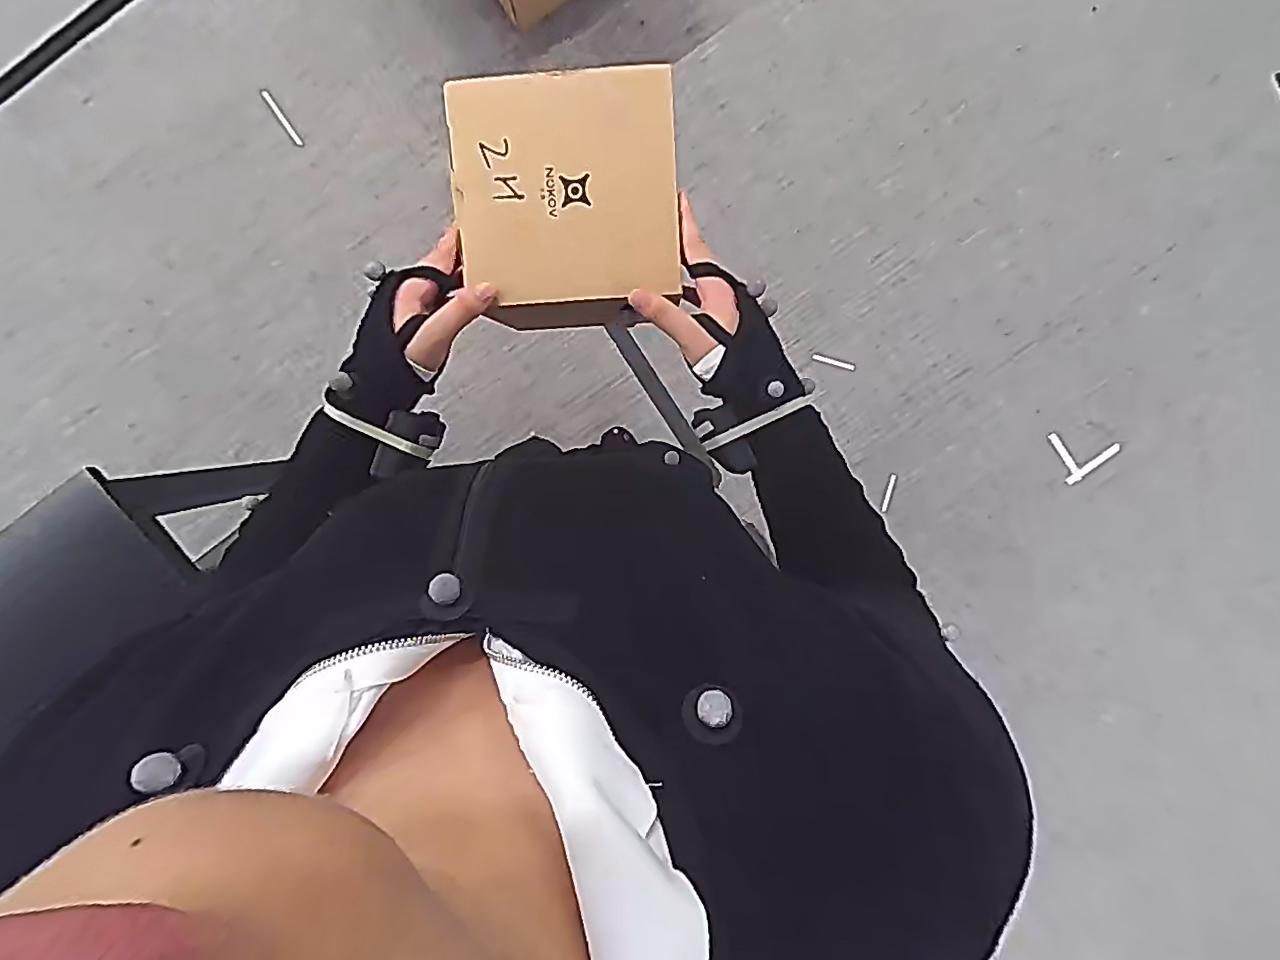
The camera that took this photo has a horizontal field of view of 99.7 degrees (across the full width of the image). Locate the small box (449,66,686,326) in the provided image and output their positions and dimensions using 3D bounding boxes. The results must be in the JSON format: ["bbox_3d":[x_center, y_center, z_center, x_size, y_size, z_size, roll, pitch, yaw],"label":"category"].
[{"bbox_3d":[-0.052,-0.238,0.497,0.179,0.176,0.168,-3,99,3],"label":"small box"}]
